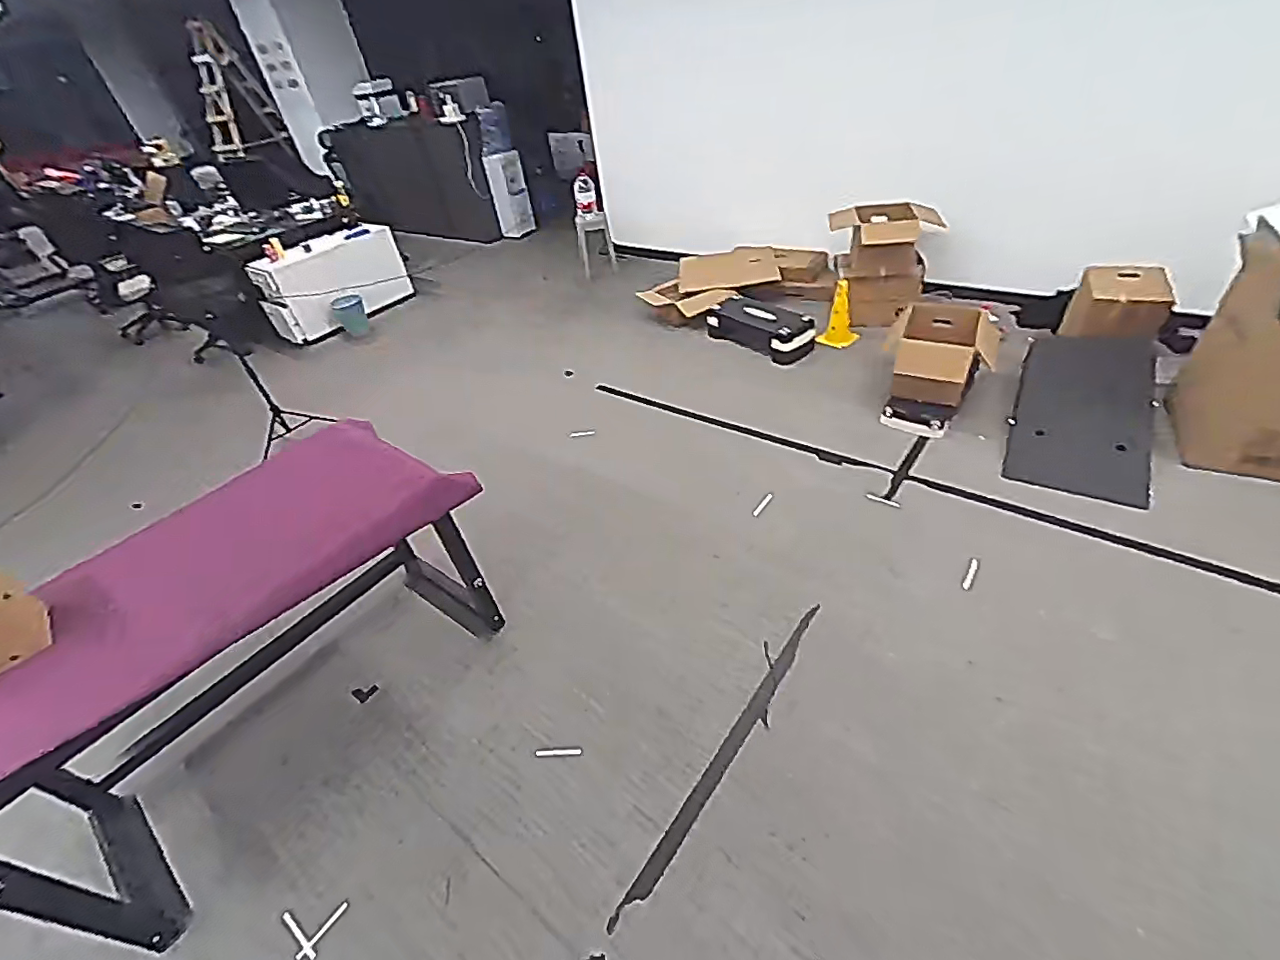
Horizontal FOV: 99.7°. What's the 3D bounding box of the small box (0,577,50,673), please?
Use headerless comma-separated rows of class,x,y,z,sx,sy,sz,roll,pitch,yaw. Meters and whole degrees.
small box,-1.475,0.331,1.200,0.179,0.176,0.168,28,52,36
